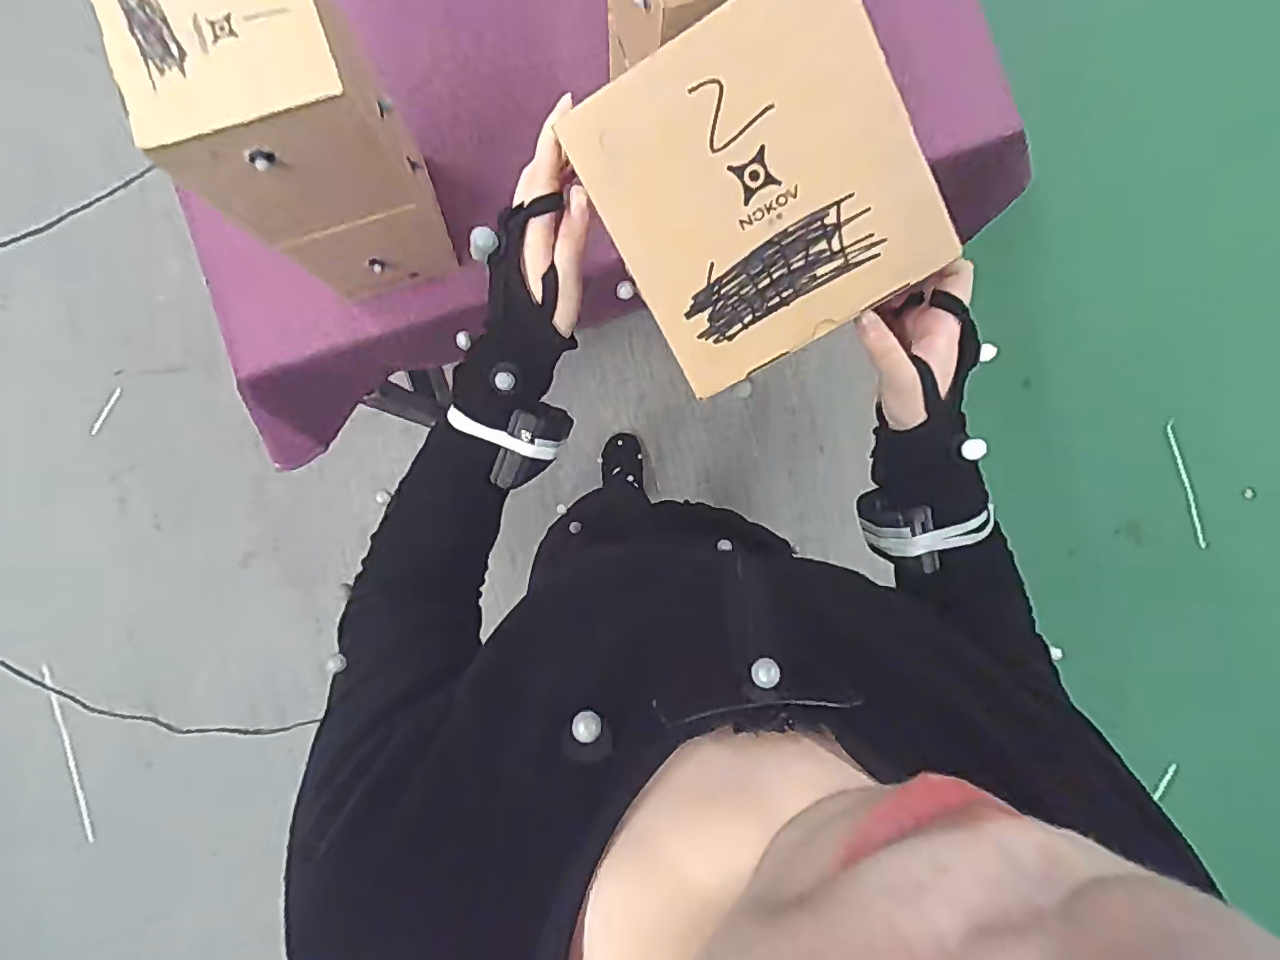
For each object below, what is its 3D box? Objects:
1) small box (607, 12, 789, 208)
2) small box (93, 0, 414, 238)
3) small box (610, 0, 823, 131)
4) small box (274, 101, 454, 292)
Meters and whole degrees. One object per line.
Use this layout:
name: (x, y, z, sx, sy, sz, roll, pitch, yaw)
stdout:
small box: (0.068, -0.493, 0.711, 0.179, 0.176, 0.168, -19, 89, -2)
small box: (-0.355, -0.367, 0.528, 0.179, 0.176, 0.168, -19, 89, -3)
small box: (0.067, -0.505, 0.547, 0.168, 0.176, 0.179, -18, 89, -3)
small box: (-0.359, -0.362, 0.692, 0.168, 0.176, 0.179, -18, 88, -3)
